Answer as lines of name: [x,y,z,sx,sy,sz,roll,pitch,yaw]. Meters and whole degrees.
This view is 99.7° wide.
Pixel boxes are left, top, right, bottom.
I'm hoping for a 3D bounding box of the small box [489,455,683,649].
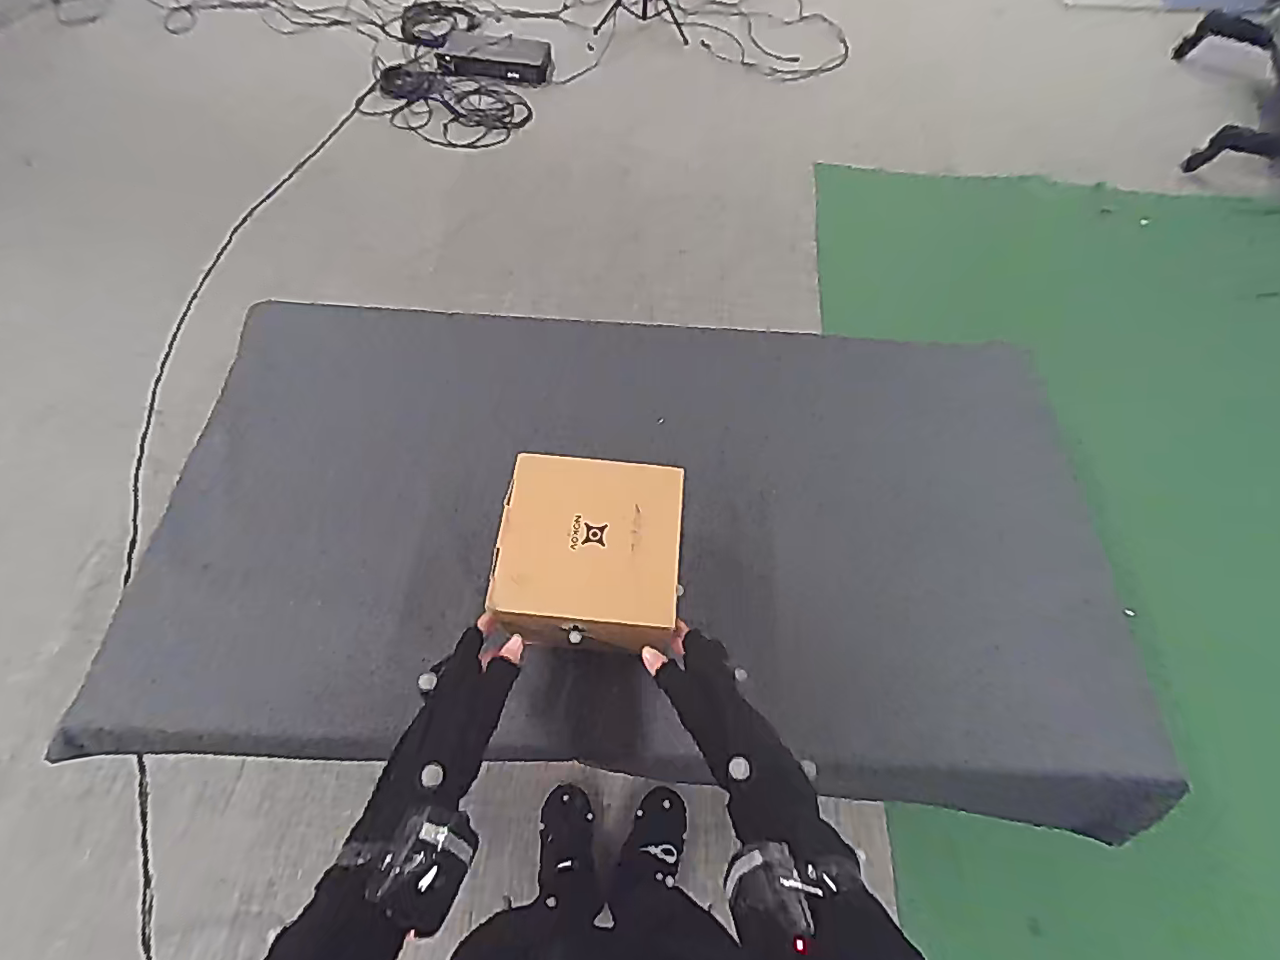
small box: [-0.049,0.088,0.599,0.179,0.176,0.168,4,64,0]
